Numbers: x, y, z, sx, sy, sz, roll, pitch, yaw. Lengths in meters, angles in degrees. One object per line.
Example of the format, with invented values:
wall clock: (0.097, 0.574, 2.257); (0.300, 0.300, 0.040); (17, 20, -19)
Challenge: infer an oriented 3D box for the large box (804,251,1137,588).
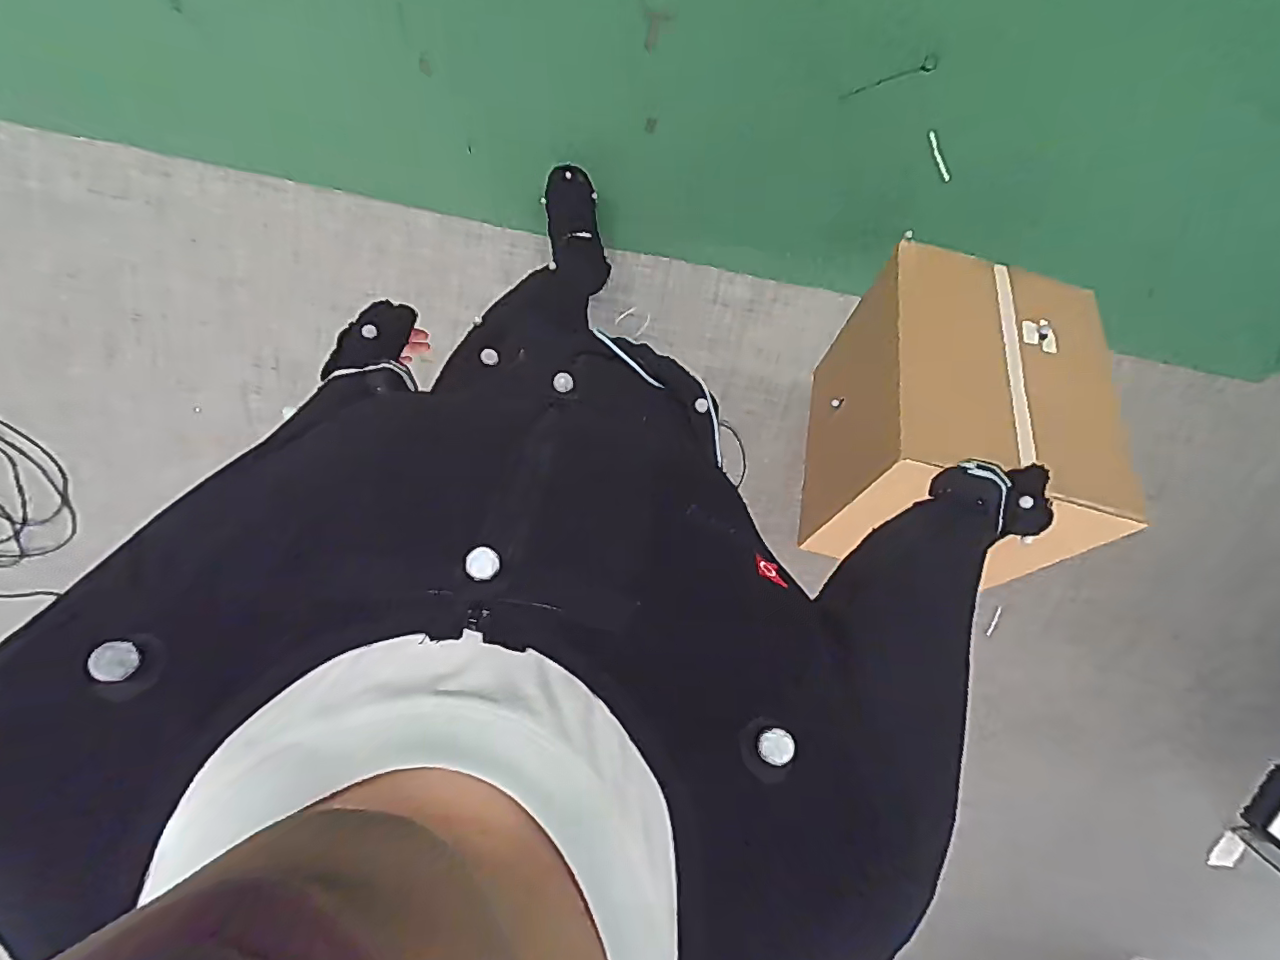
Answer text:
large box: (0.480, -0.084, 0.879); (0.320, 0.408, 0.320); (16, 151, -1)
